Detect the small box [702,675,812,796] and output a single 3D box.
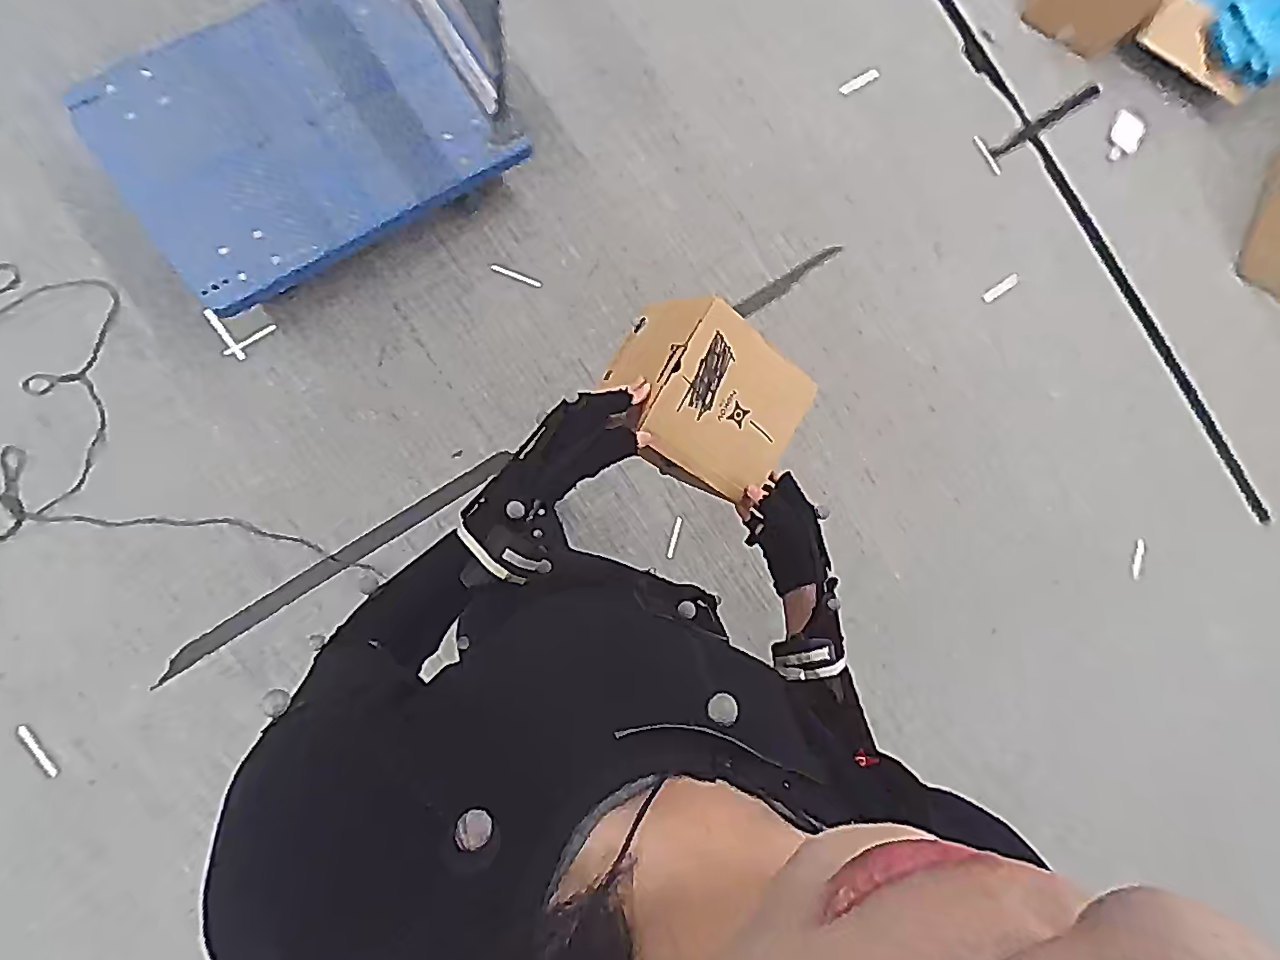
[{"bbox_3d":[0.277,0.611,1.316,0.168,0.176,0.179,-31,94,-10],"label":"small box"}]
